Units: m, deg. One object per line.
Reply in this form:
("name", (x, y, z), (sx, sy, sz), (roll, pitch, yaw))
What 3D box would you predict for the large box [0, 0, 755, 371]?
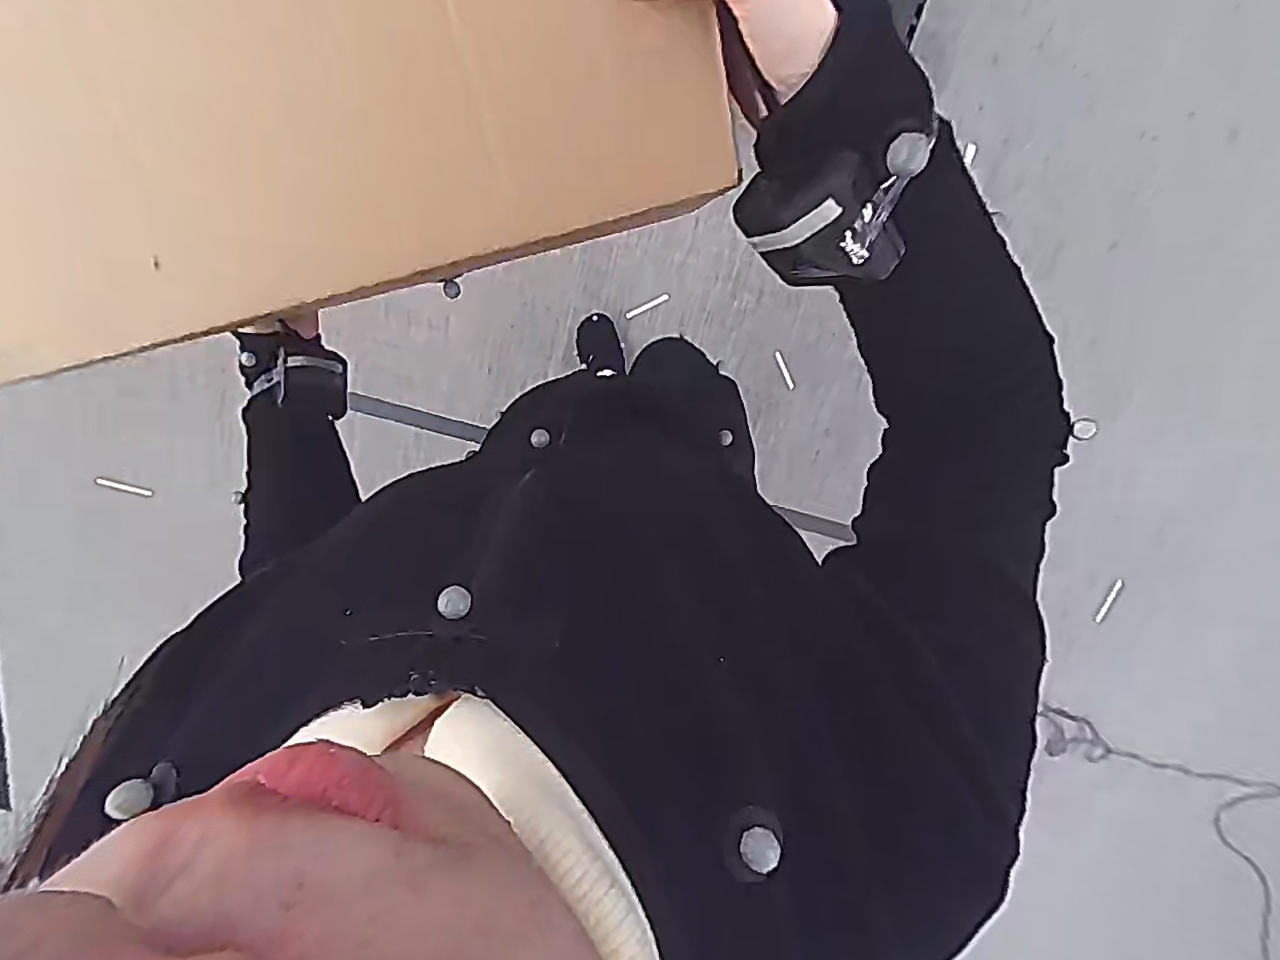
("large box", (-0.170, -0.293, 0.330), (0.408, 0.320, 0.320), (-11, 113, 8))
